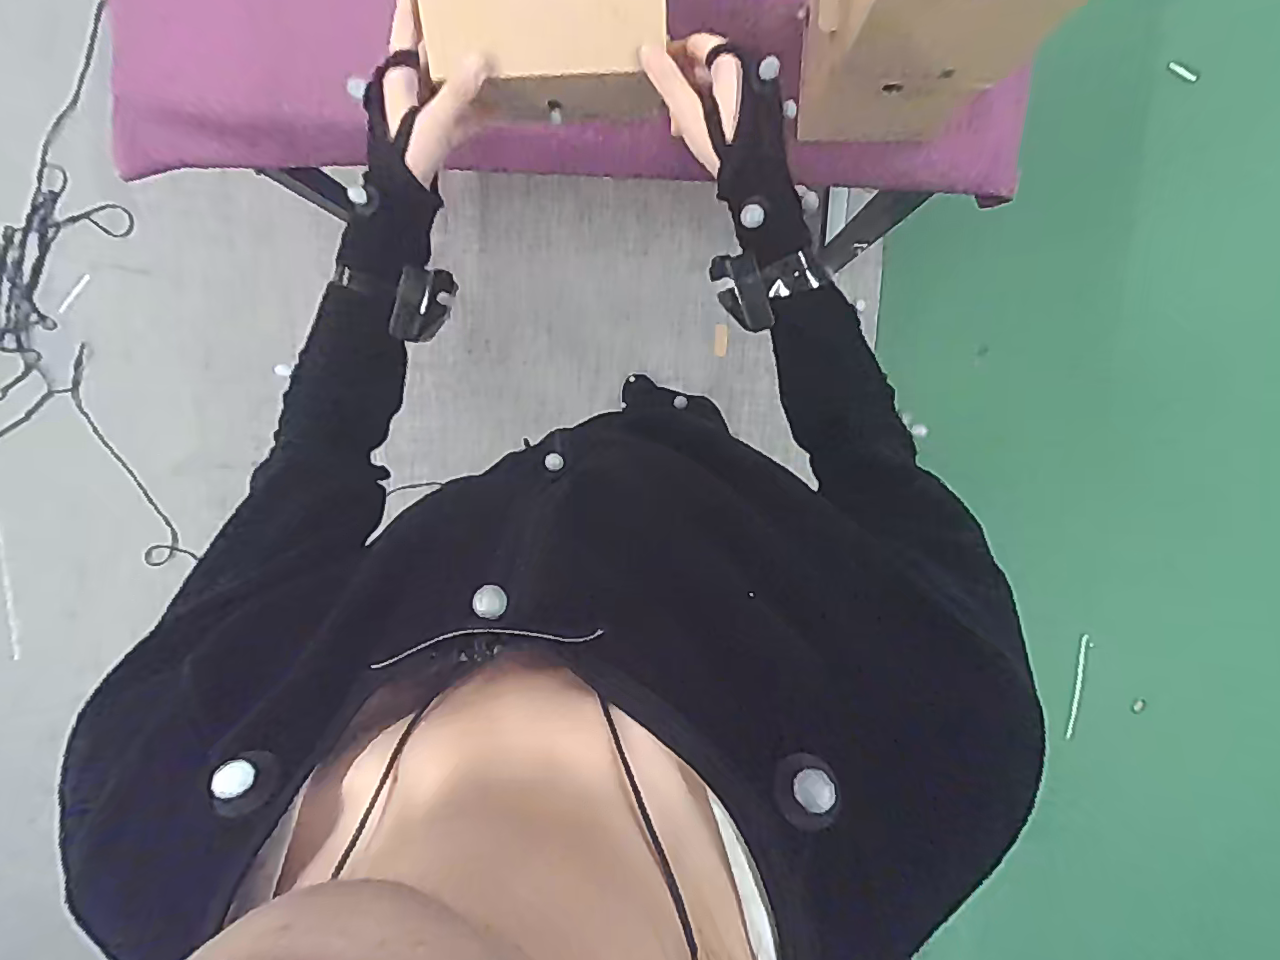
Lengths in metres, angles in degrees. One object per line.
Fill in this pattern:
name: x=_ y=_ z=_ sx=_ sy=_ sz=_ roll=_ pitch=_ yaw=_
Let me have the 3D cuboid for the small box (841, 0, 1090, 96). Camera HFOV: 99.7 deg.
small box: x=0.282 y=-0.472 z=0.459 sx=0.168 sy=0.176 sz=0.179 roll=4 pitch=97 yaw=3

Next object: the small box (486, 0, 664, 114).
small box: x=-0.064 y=-0.559 z=0.629 sx=0.179 sy=0.176 sz=0.168 roll=4 pitch=97 yaw=1

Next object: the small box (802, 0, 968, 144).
small box: x=0.293 y=-0.510 z=0.619 sx=0.179 sy=0.176 sz=0.168 roll=1 pitch=98 yaw=2
